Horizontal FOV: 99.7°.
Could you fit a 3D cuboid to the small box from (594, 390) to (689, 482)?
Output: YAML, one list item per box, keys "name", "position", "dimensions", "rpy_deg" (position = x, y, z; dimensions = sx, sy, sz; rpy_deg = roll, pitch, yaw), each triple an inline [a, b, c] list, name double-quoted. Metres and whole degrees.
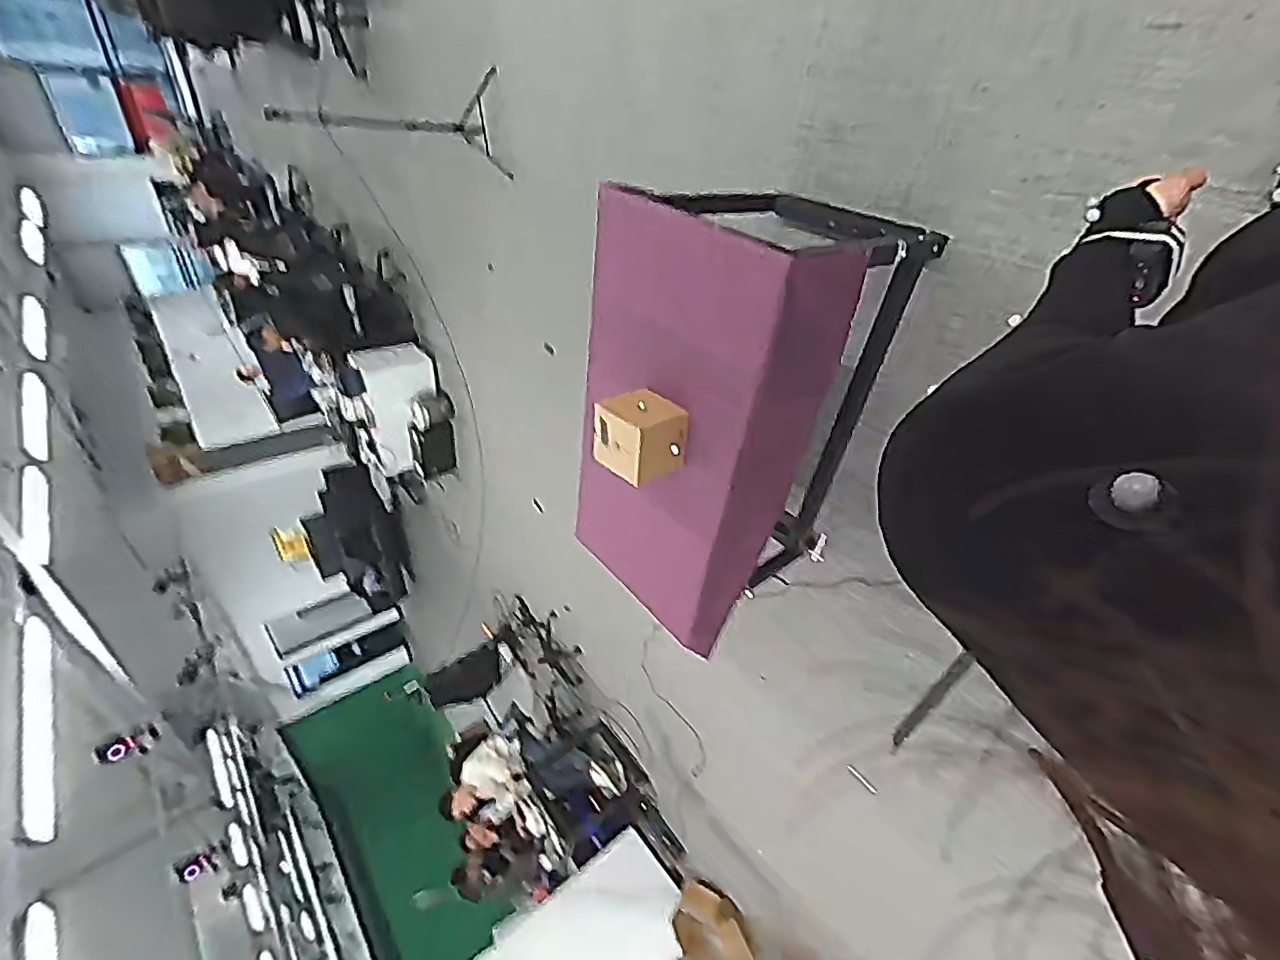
- name: "small box"
  position: [0.001, -0.123, 1.404]
  dimensions: [0.179, 0.176, 0.168]
  rpy_deg: [34, 134, 37]
